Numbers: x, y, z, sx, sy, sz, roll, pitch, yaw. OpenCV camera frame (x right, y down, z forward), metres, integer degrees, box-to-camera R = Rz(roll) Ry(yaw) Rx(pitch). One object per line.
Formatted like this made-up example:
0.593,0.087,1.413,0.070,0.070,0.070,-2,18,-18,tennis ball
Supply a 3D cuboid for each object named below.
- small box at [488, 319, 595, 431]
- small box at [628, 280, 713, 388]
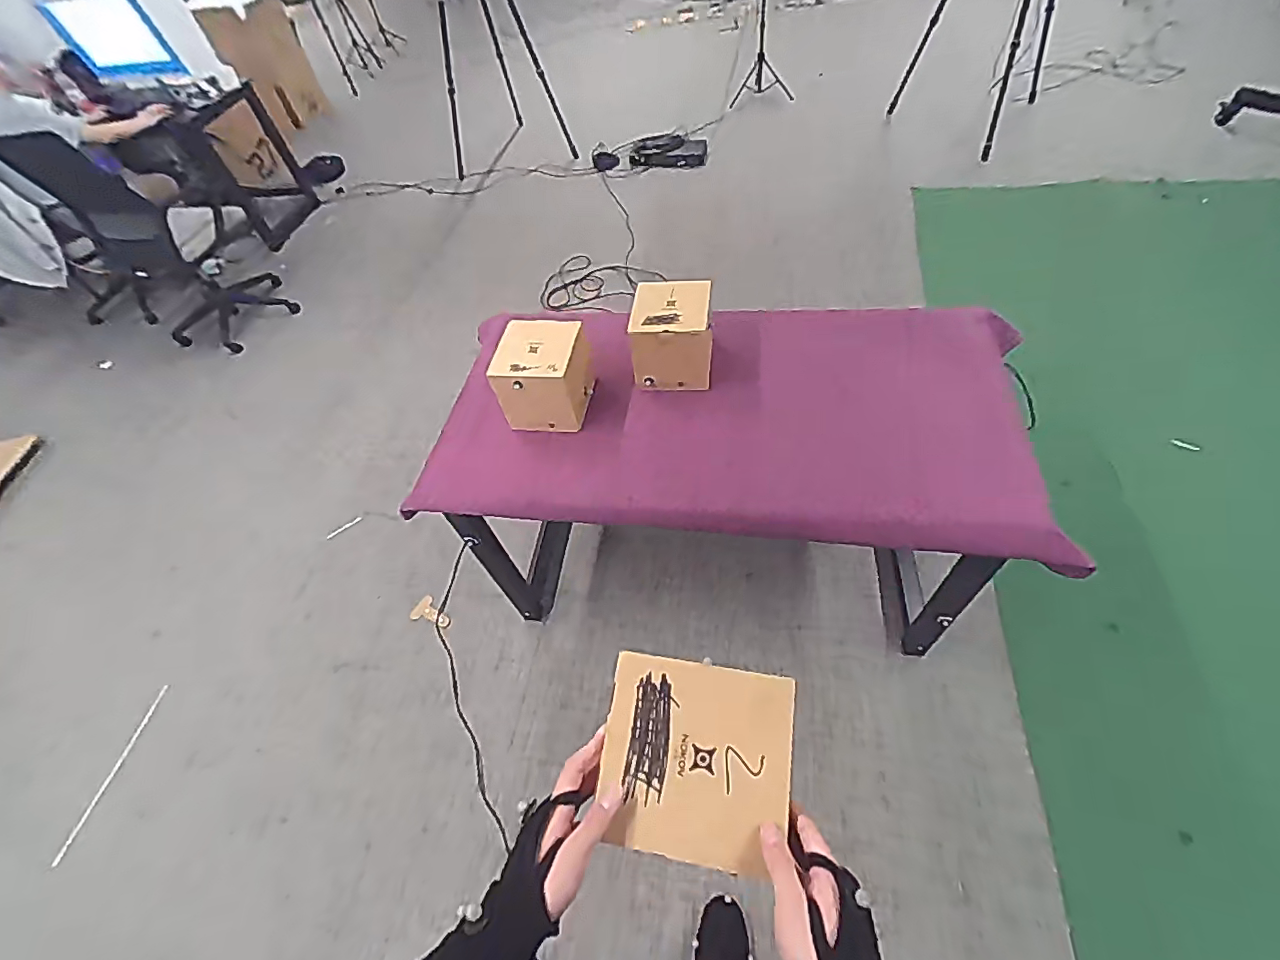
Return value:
-0.204,-0.231,1.184,0.168,0.176,0.179,3,54,12,small box
0.076,-0.323,1.213,0.168,0.176,0.179,2,54,10,small box
